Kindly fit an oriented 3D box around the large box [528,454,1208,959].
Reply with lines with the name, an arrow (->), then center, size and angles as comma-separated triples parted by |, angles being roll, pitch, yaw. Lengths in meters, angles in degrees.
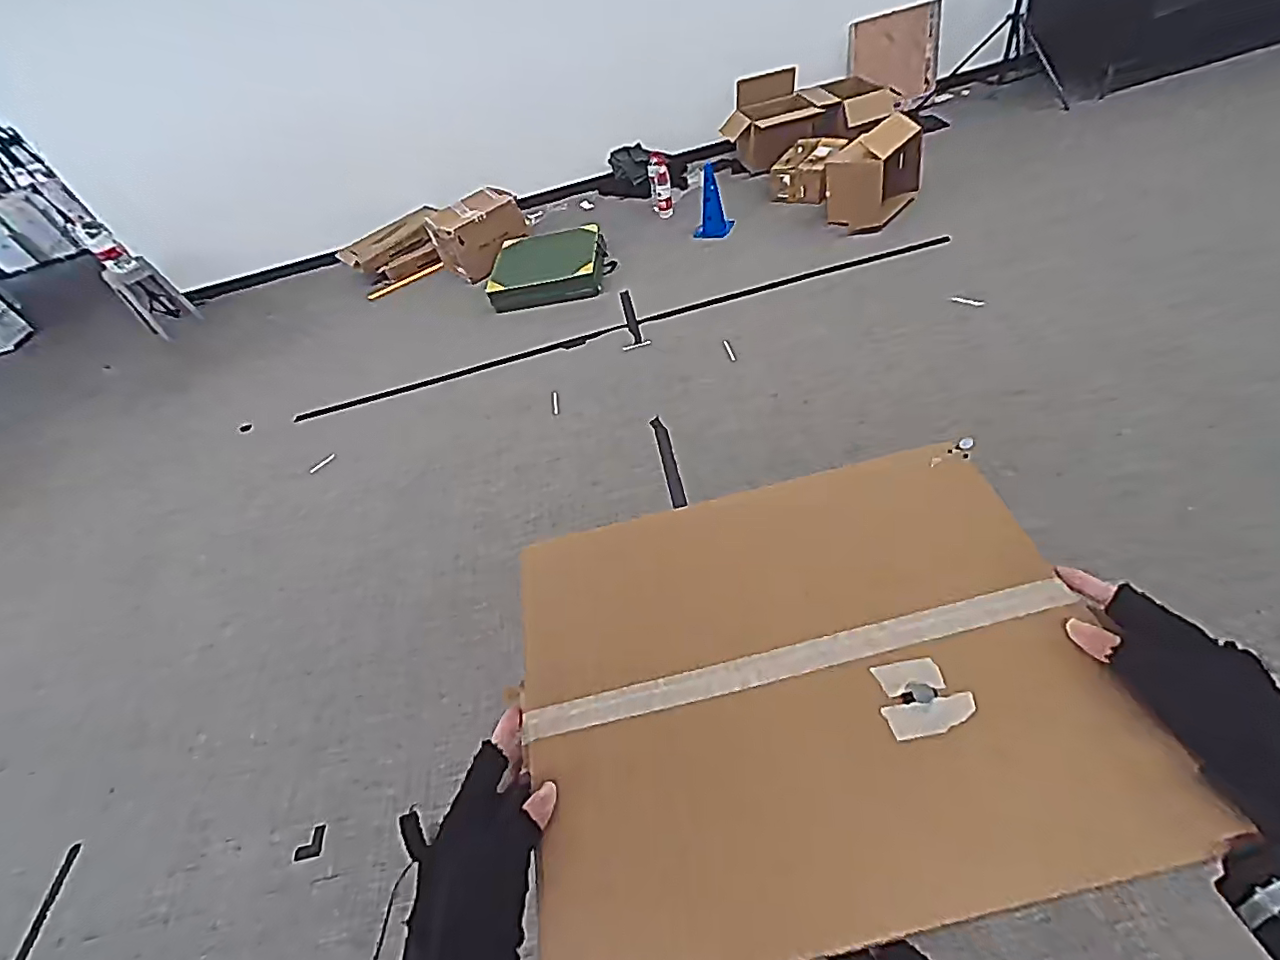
large box -> 0.137, 0.230, 0.523 | 0.408, 0.320, 0.320 | -14, 51, -1
